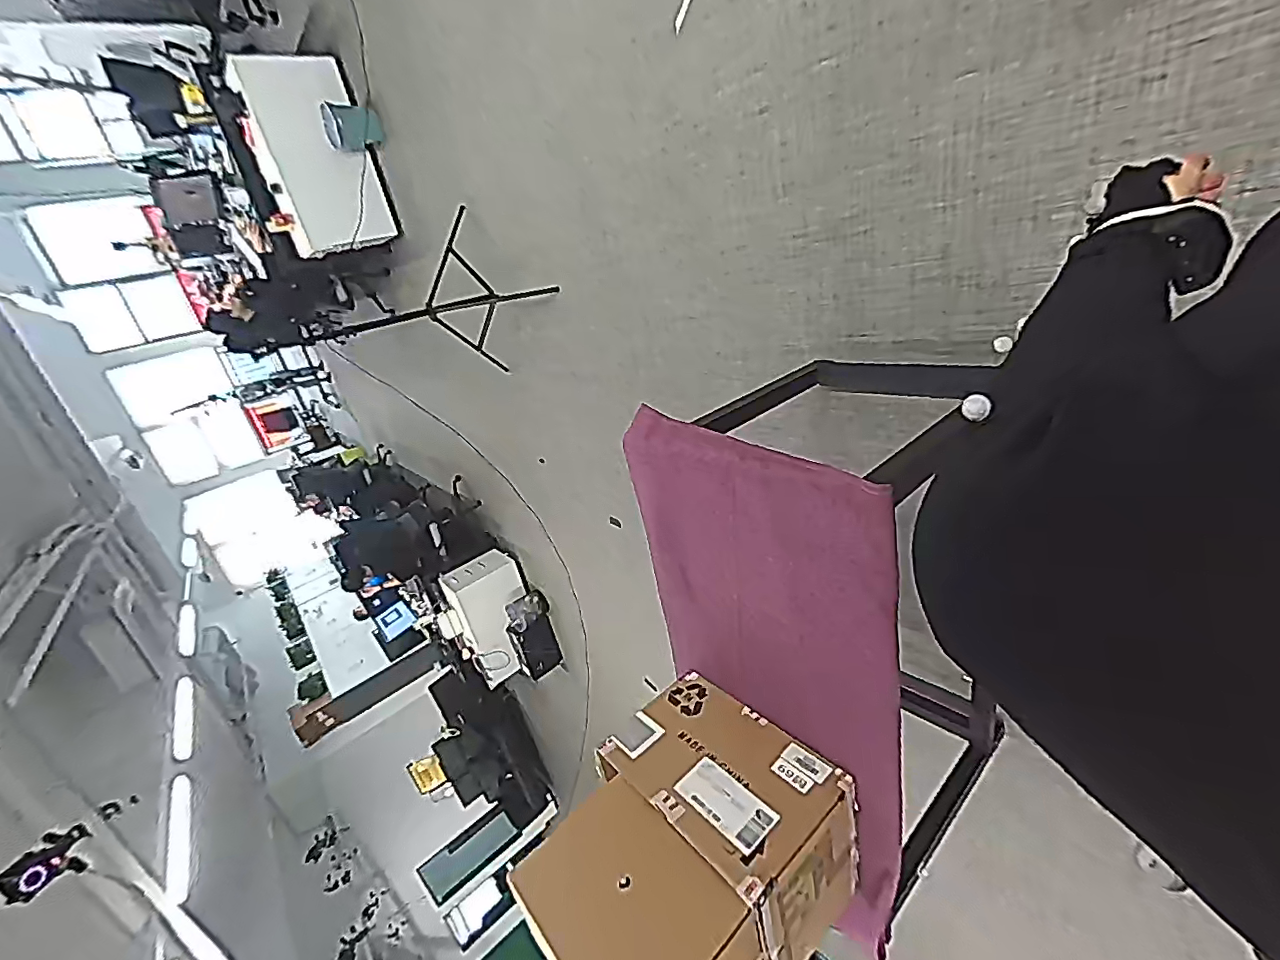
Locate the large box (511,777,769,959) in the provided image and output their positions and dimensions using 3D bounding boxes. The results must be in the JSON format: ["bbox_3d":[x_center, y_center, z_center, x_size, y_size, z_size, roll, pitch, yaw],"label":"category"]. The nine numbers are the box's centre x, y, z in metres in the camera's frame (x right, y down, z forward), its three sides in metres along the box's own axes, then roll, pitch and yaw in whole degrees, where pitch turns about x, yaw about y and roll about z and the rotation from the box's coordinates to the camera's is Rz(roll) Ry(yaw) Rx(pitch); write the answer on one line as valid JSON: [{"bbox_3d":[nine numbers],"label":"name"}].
[{"bbox_3d":[0.001,0.910,1.089,0.408,0.320,0.320,16,128,49],"label":"large box"}]
